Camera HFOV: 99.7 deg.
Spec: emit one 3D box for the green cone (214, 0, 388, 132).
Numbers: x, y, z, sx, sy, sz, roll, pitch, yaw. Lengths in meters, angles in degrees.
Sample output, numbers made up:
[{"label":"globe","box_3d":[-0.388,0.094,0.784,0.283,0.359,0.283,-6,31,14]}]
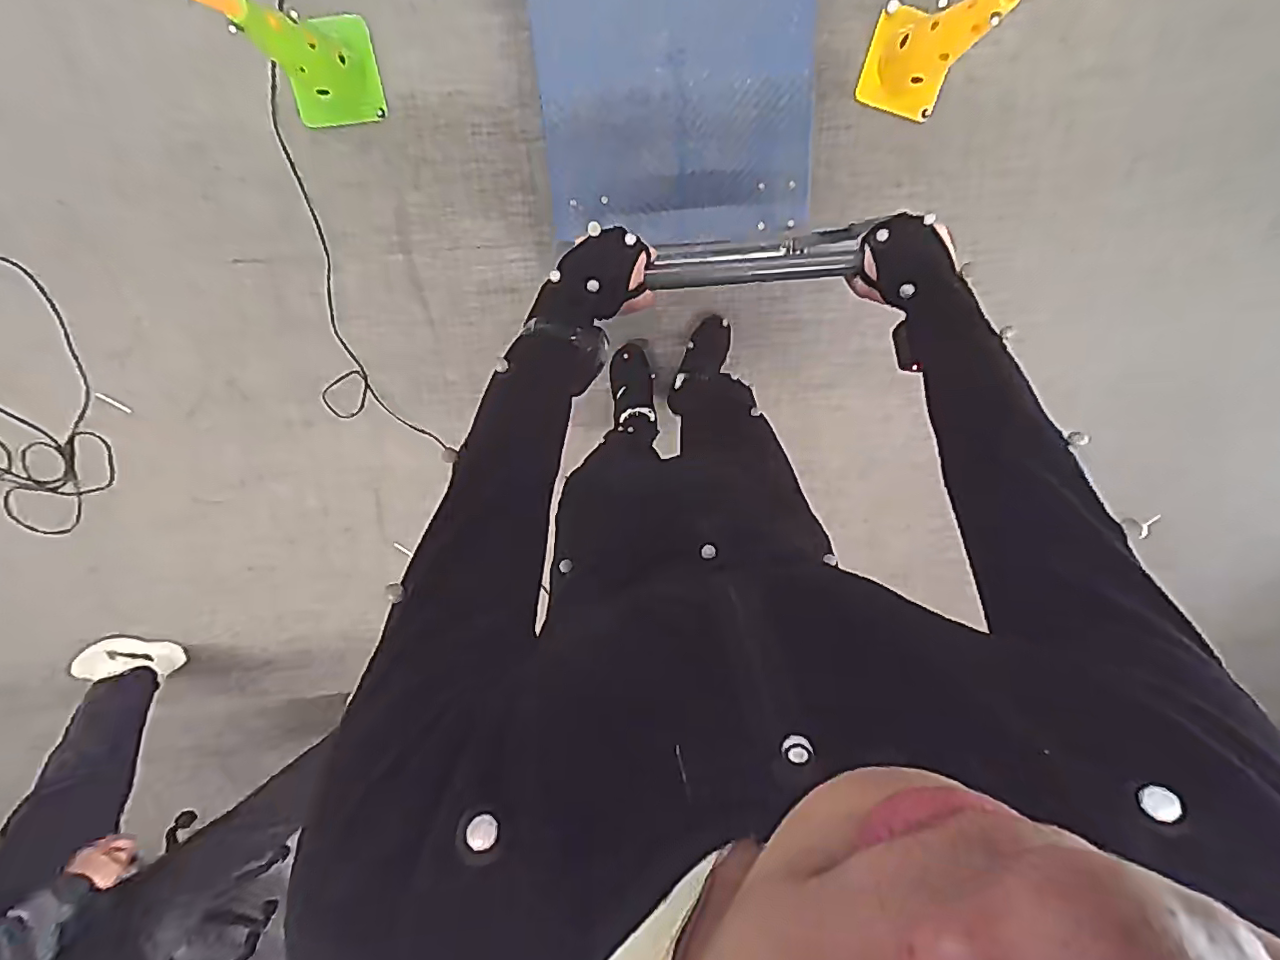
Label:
[{"label":"green cone","box_3d":[-0.686,-0.851,1.062,0.202,0.368,0.200,-7,112,2]}]
